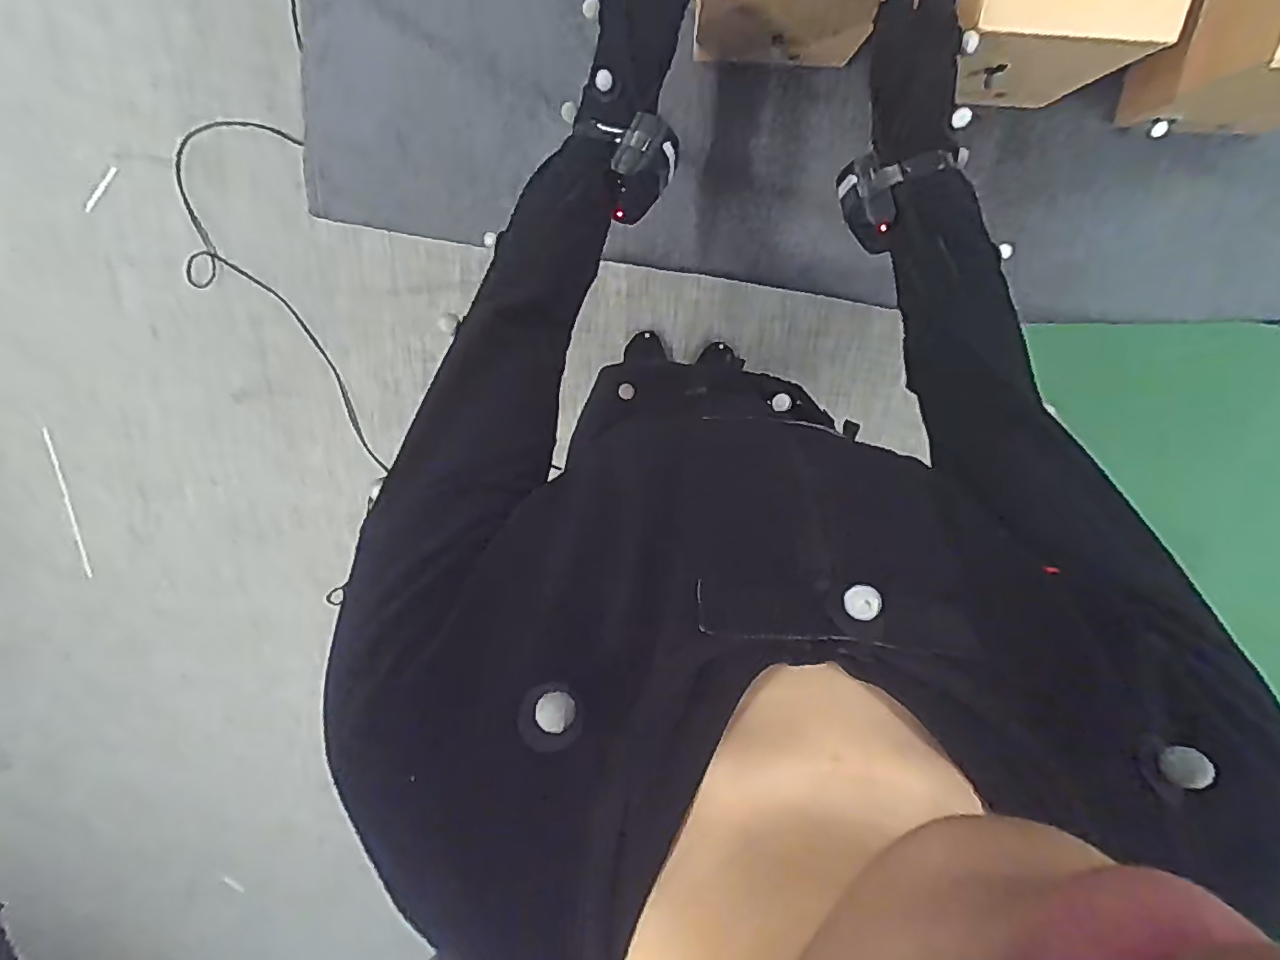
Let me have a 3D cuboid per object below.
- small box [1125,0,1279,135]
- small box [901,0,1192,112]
[{"bbox_3d":[0.600,-0.433,0.486,0.168,0.176,0.179,4,107,1],"label":"small box"},{"bbox_3d":[0.361,-0.460,0.488,0.168,0.176,0.179,4,107,1],"label":"small box"}]
